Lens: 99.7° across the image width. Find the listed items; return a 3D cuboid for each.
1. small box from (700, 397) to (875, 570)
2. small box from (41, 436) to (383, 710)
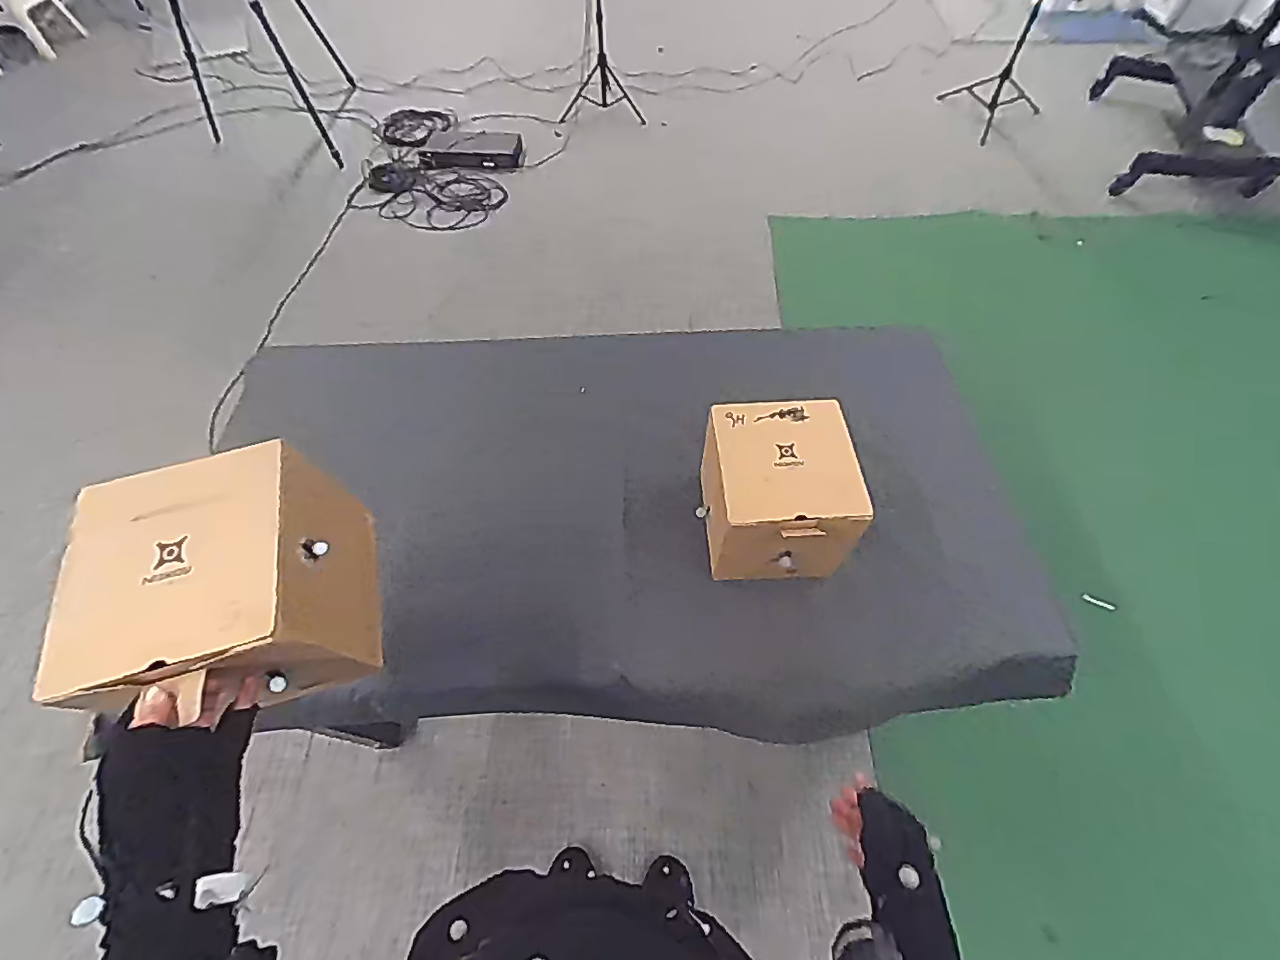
[{"bbox_3d":[0.176,0.012,0.711,0.168,0.176,0.179,-1,59,-4],"label":"small box"},{"bbox_3d":[-0.349,0.094,0.482,0.168,0.176,0.179,-16,62,-5],"label":"small box"}]
